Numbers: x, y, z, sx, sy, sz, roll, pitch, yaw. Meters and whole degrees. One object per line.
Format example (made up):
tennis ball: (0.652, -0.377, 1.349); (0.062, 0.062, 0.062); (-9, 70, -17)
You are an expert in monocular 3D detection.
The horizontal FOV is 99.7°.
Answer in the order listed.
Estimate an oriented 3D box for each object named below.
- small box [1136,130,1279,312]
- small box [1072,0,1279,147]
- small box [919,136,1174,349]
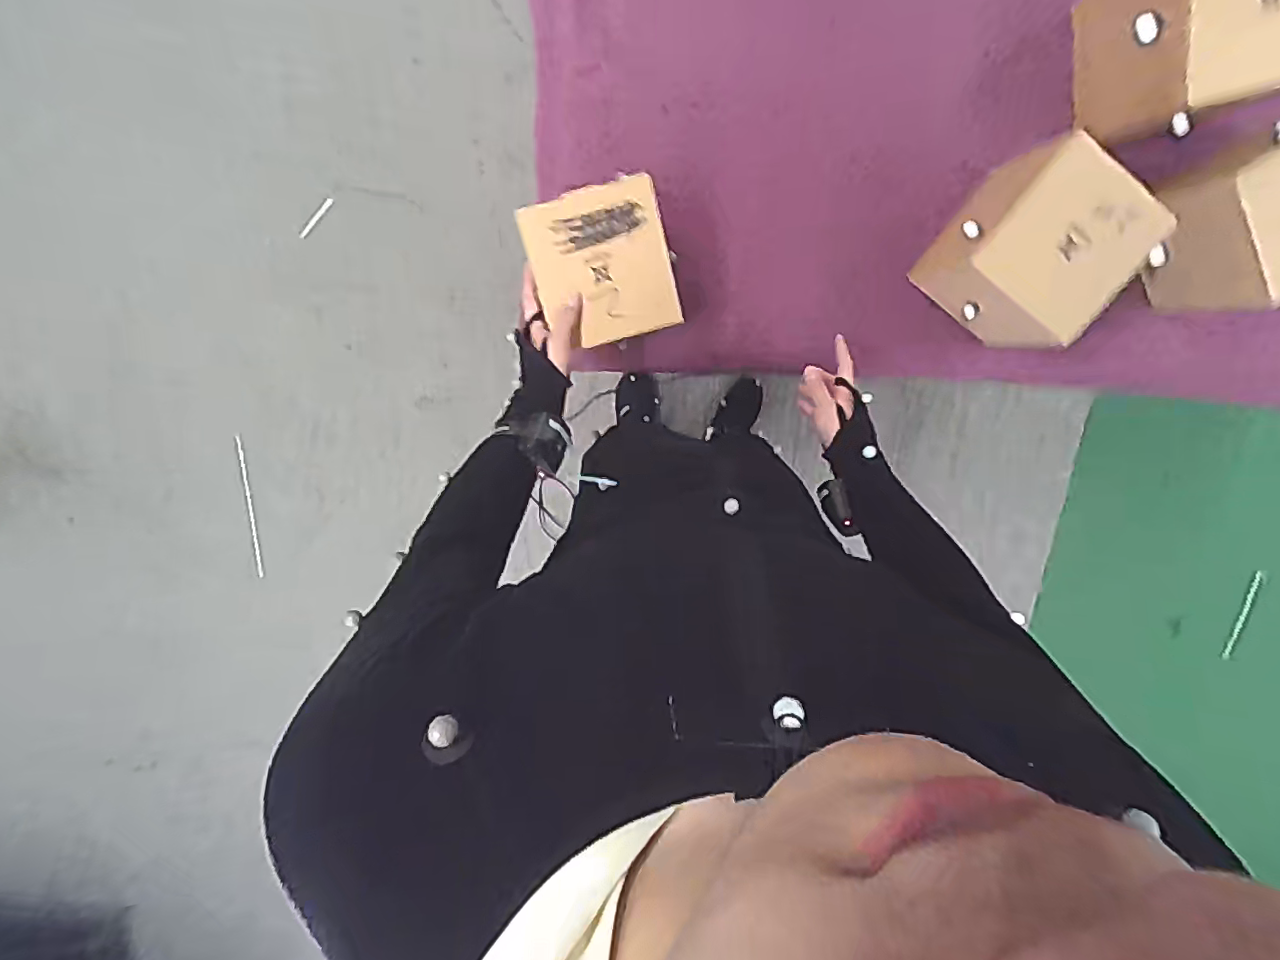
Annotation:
small box: (0.784, -0.333, 0.690); (0.179, 0.176, 0.168); (-30, 102, 10)
small box: (0.658, -0.524, 0.643); (0.168, 0.176, 0.179); (-12, 105, 5)
small box: (0.502, -0.292, 0.706); (0.168, 0.176, 0.179); (35, 103, -8)
